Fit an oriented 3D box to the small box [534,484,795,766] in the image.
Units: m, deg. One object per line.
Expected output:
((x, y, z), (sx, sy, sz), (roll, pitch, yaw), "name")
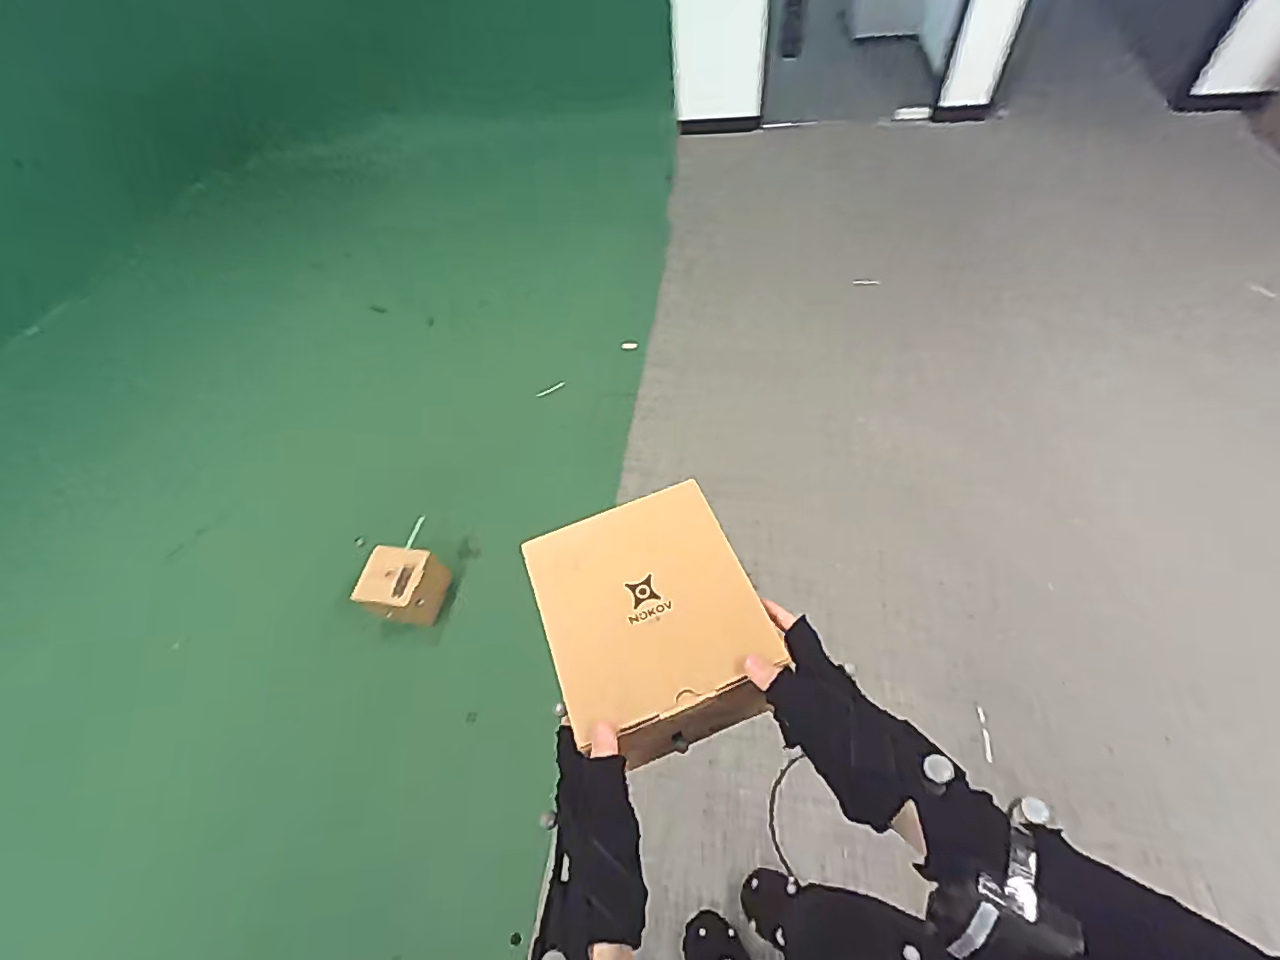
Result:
((0.017, 0.137, 0.497), (0.168, 0.176, 0.179), (-19, 58, -7), "small box")
